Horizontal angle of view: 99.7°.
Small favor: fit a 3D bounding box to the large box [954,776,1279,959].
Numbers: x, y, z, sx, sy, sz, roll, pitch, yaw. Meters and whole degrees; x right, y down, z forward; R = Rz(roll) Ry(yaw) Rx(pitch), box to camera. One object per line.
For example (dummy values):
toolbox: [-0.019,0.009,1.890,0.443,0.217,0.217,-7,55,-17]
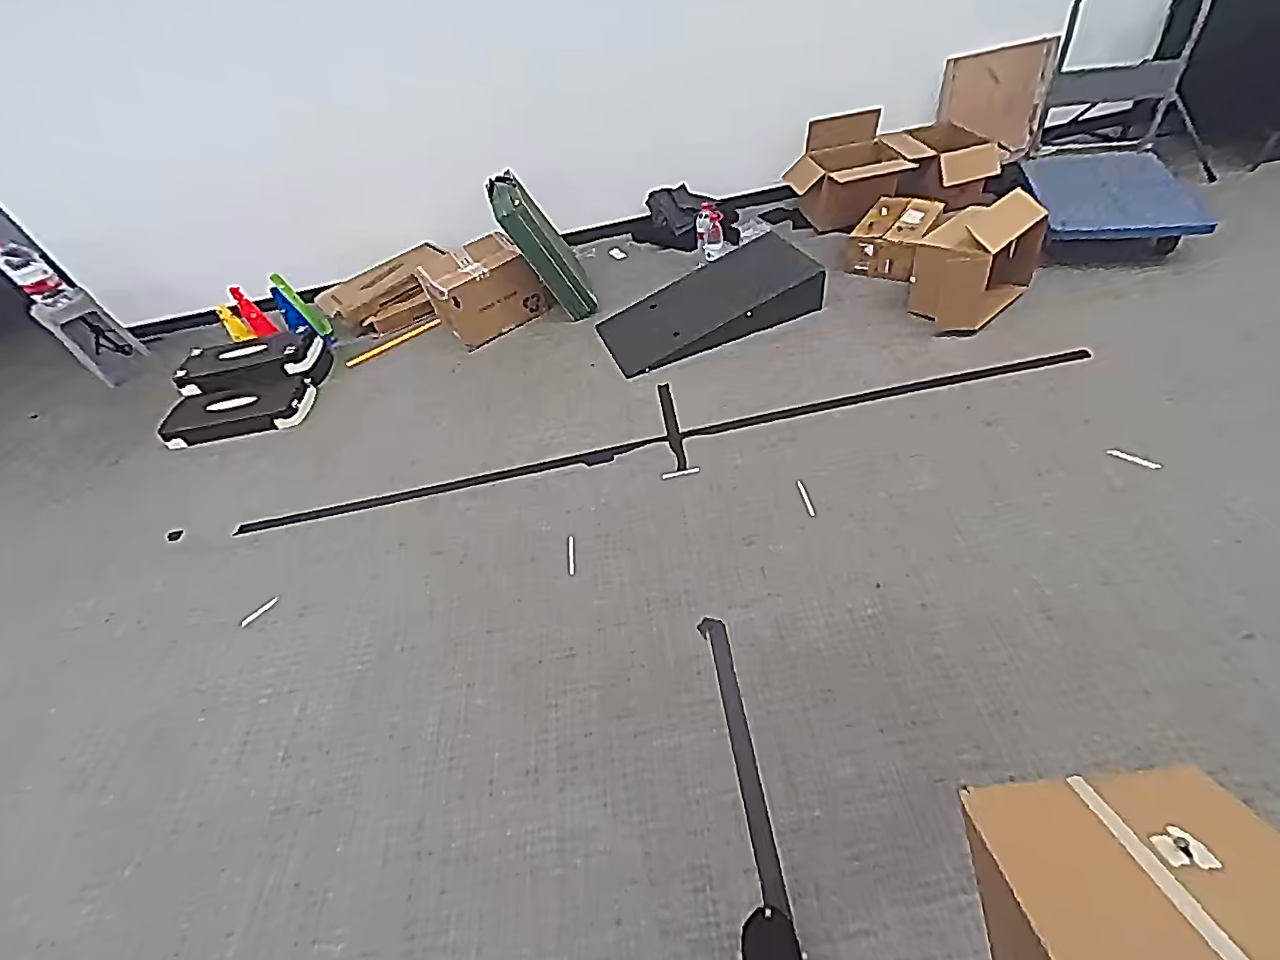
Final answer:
large box: [0.625,0.619,0.609,0.320,0.320,0.408,-11,5,11]
